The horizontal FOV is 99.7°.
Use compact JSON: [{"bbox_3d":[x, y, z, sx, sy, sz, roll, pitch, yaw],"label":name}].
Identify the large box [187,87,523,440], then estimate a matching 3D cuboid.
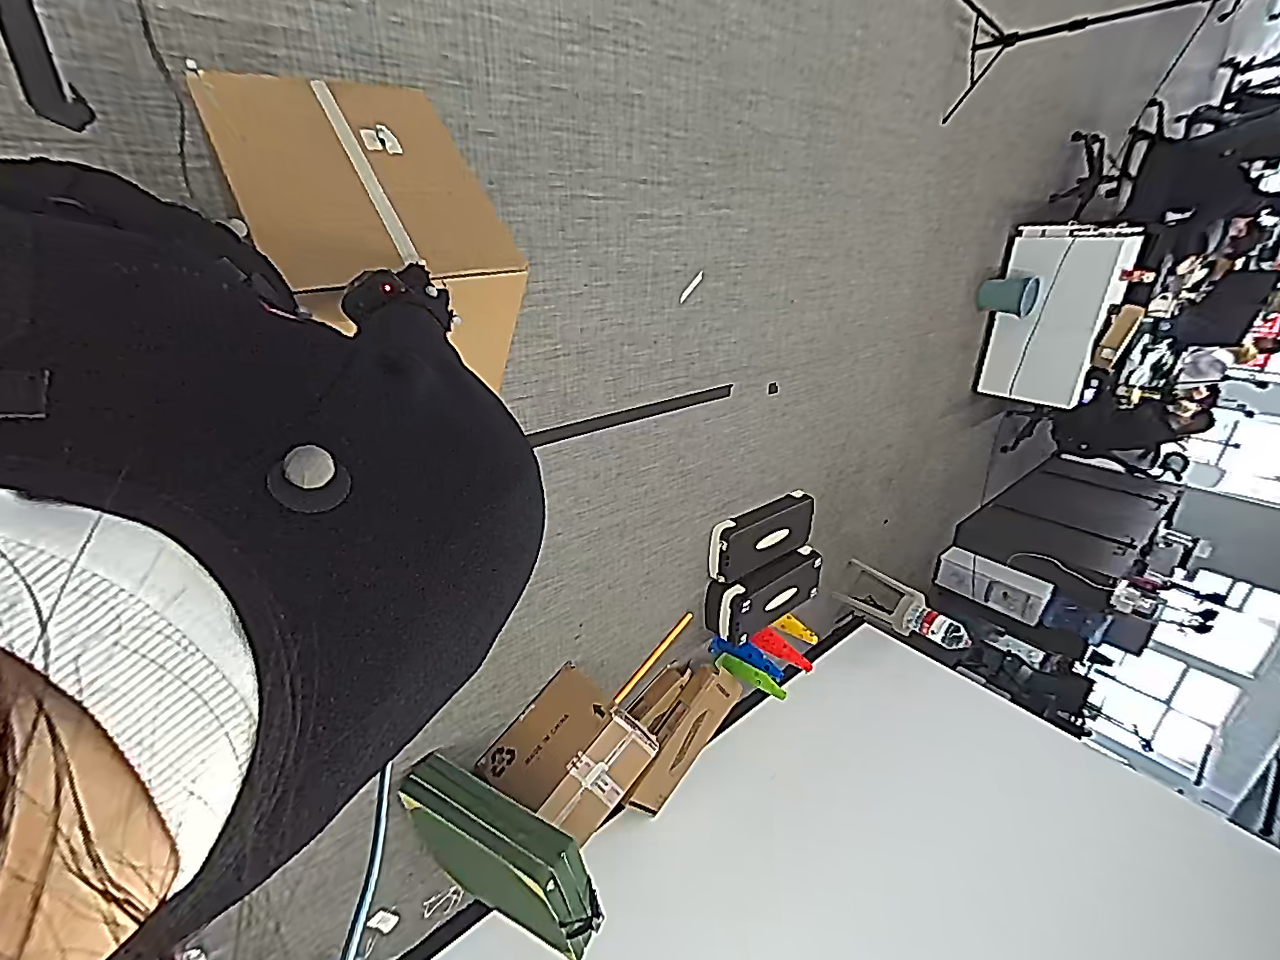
[{"bbox_3d":[-0.438,-0.338,0.870,0.320,0.408,0.320,-21,161,-34],"label":"large box"}]
